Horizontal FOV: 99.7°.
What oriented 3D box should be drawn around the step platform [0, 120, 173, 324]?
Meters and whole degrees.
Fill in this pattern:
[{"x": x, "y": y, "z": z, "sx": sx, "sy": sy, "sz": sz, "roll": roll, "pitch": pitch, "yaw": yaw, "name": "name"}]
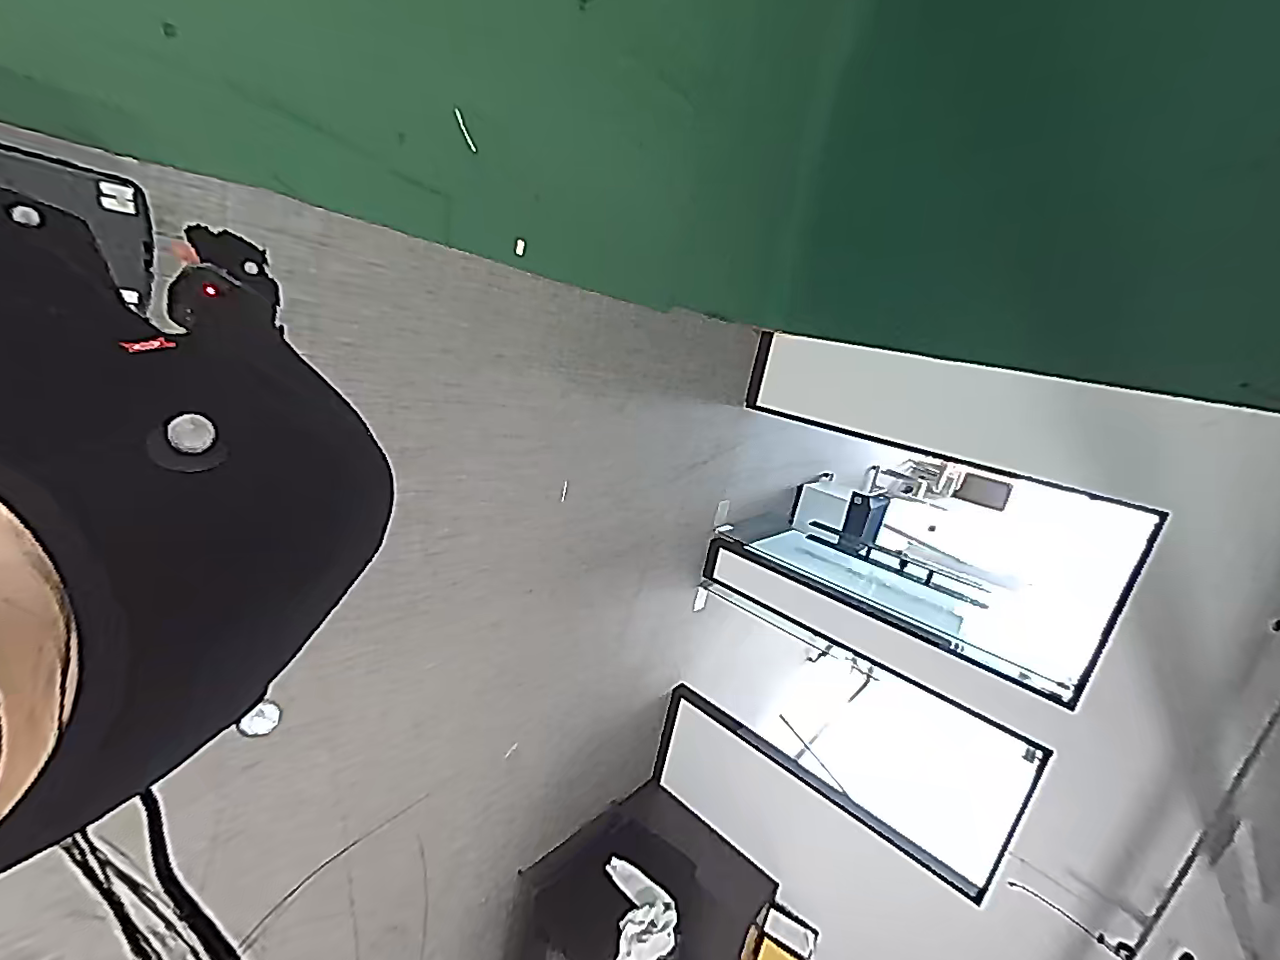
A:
[{"x": -1.117, "y": -0.420, "z": 0.757, "sx": 0.684, "sy": 0.204, "sz": 0.286, "roll": -5, "pitch": 113, "yaw": -49, "name": "step platform"}]
